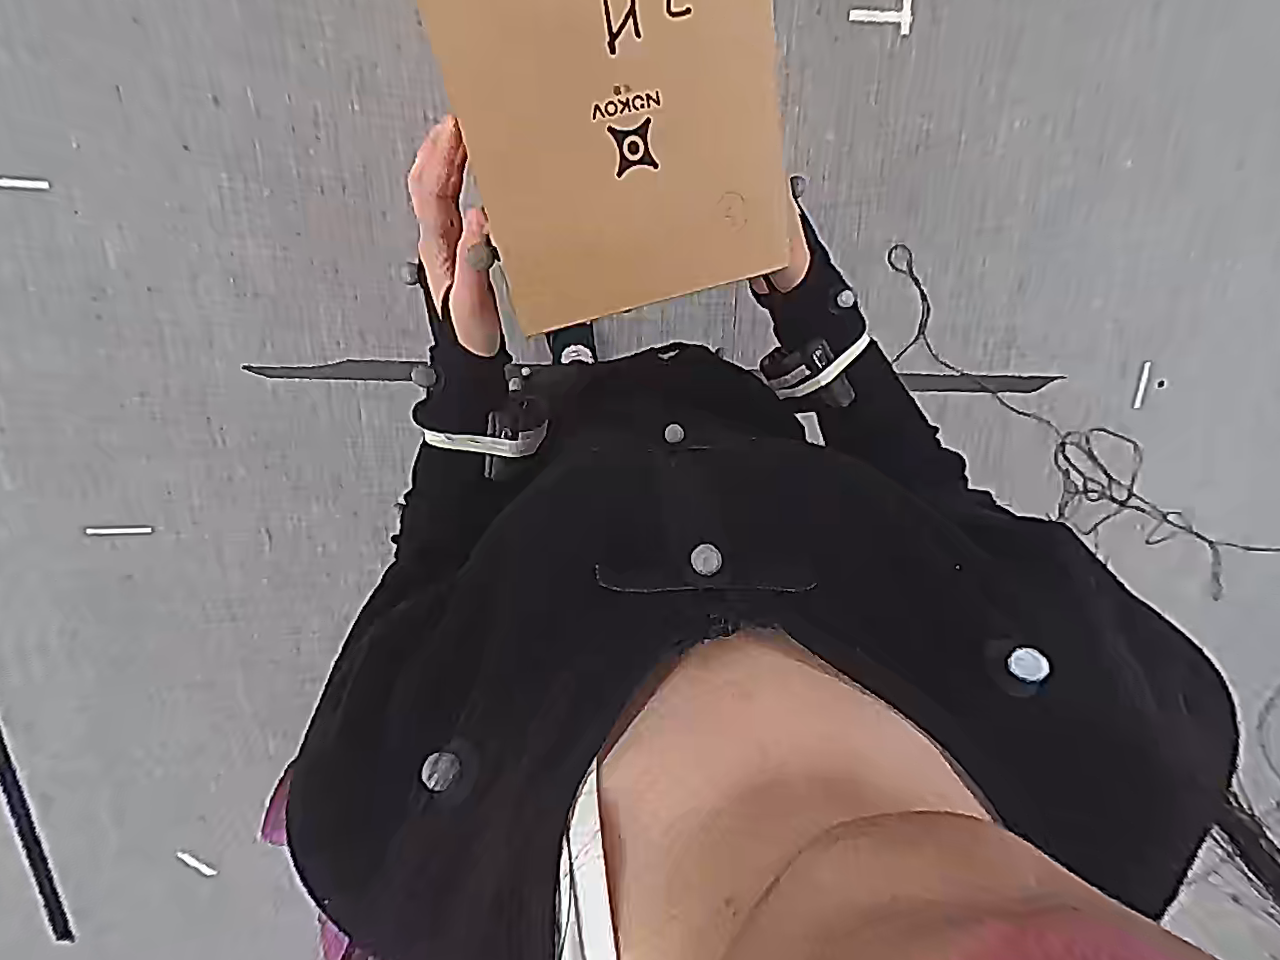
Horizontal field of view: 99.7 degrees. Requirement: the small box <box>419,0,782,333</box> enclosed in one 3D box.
[{"bbox_3d":[-0.027,-0.213,0.349,0.168,0.176,0.179,-18,118,-8],"label":"small box"}]
